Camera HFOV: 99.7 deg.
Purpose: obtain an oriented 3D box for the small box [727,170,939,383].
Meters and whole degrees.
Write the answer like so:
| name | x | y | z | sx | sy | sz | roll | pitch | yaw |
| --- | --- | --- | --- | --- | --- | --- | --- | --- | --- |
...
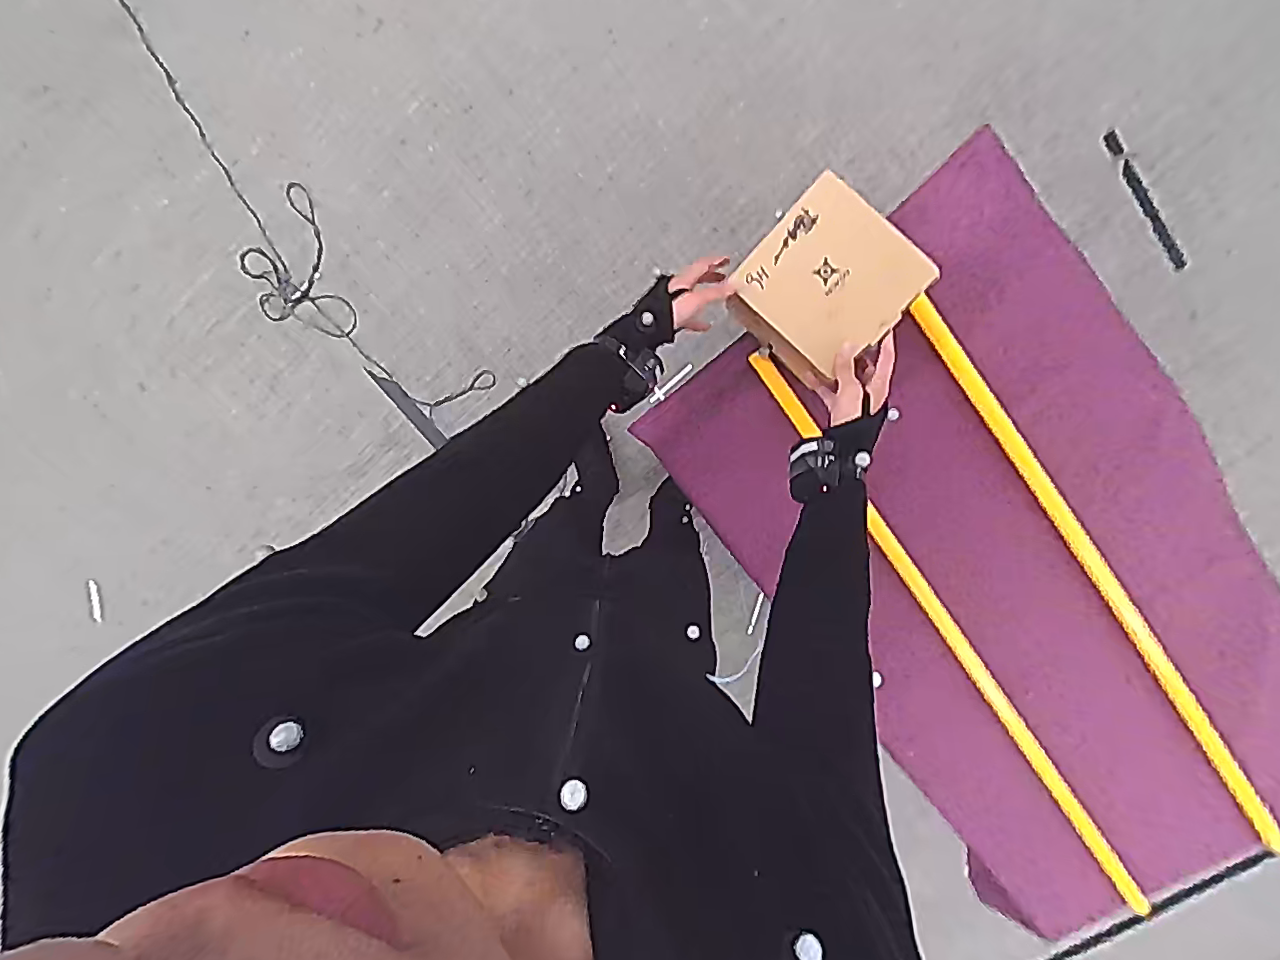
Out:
| name | x | y | z | sx | sy | sz | roll | pitch | yaw |
| --- | --- | --- | --- | --- | --- | --- | --- | --- | --- |
| small box | 0.230 | -0.243 | 0.693 | 0.179 | 0.176 | 0.168 | 44 | 102 | 0 |
